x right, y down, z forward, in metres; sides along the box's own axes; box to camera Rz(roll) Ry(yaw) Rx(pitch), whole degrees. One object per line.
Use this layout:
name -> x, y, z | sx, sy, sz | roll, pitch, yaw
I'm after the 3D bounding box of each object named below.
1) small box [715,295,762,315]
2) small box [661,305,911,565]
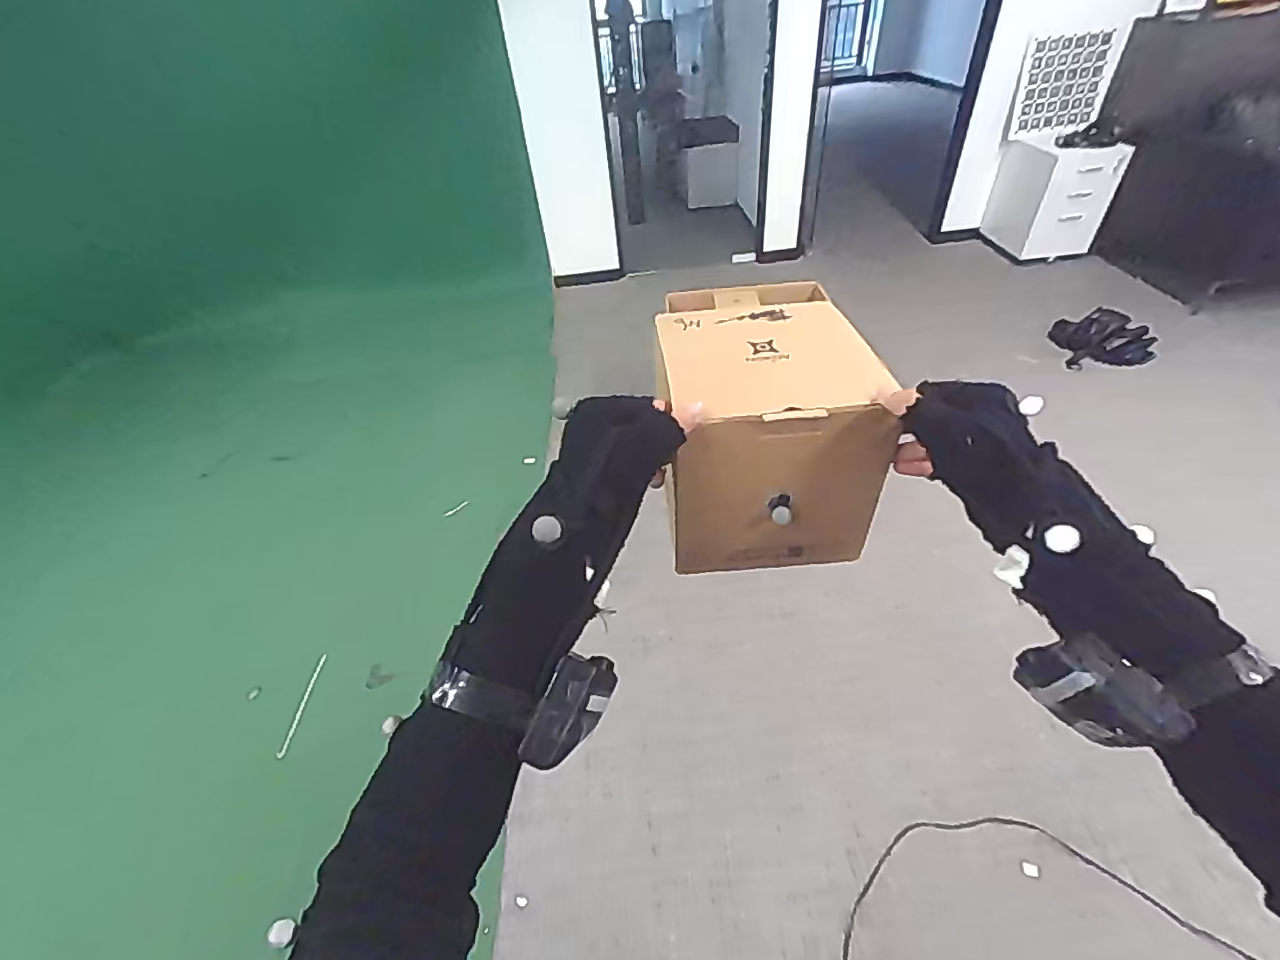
small box -> 0.375, -0.594, 2.081 | 0.168, 0.176, 0.179 | -1, 40, 3
small box -> 0.109, -0.037, 0.488 | 0.168, 0.176, 0.179 | -4, 41, 0
